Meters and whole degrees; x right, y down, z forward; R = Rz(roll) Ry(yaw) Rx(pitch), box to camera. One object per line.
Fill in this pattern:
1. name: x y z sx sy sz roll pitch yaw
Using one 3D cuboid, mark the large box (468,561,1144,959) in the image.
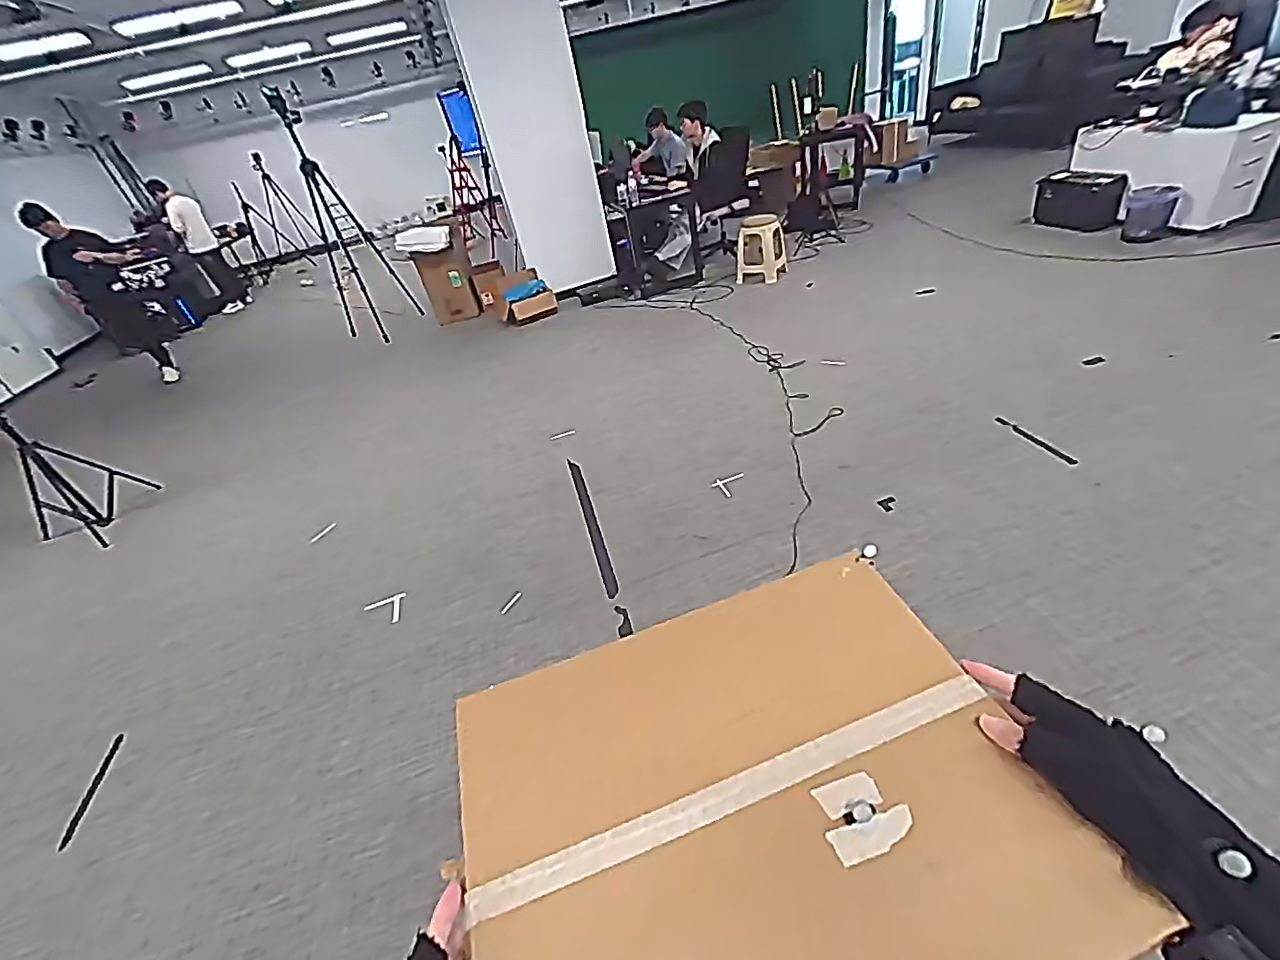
1. large box: 0.097 0.345 0.503 0.408 0.320 0.320 -18 42 -9
